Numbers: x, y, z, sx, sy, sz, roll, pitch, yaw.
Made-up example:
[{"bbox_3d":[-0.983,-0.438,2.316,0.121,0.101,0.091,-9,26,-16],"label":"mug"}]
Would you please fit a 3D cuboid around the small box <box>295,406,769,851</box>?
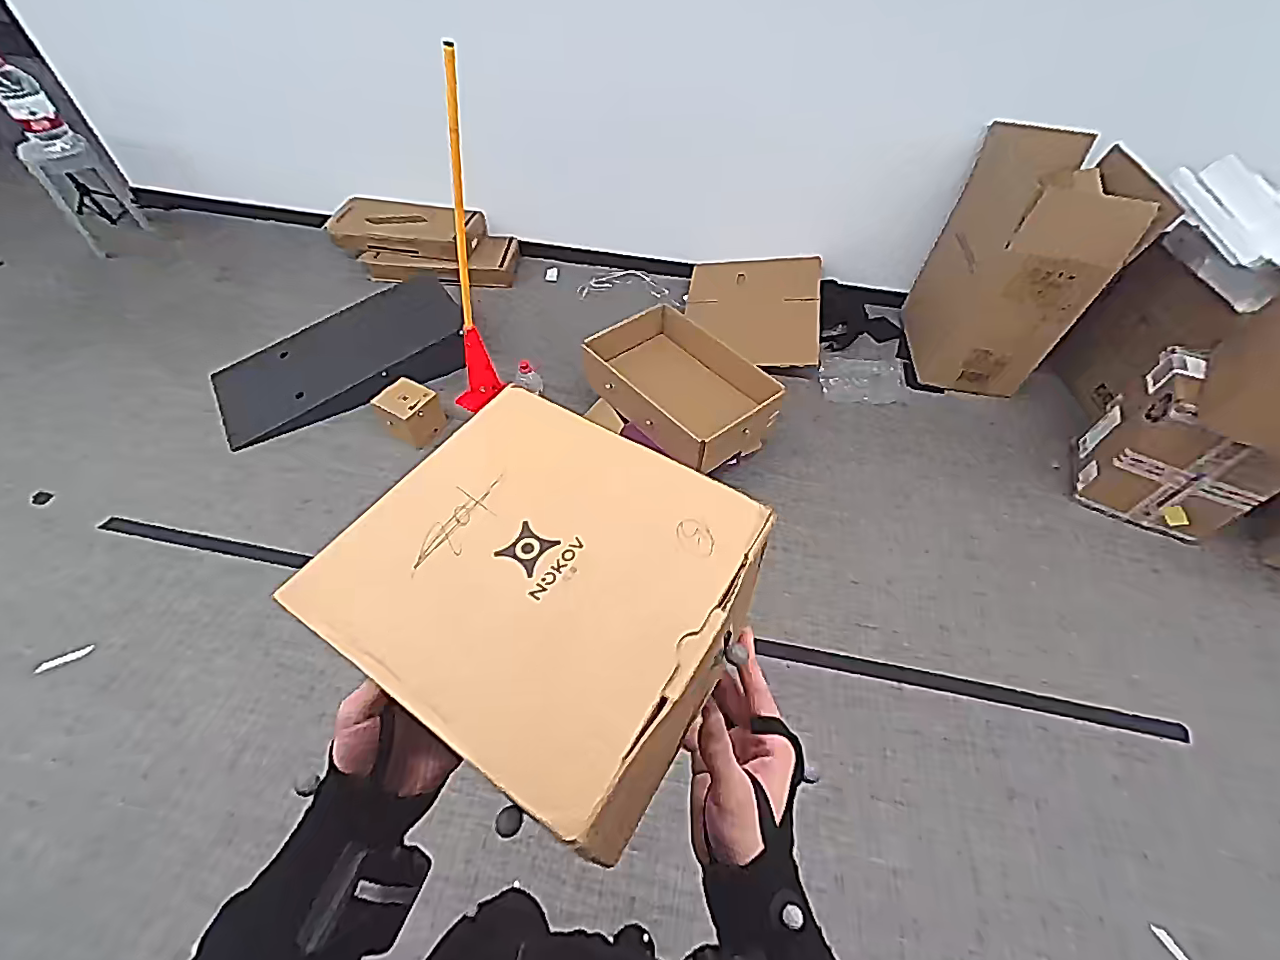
[{"bbox_3d":[-0.046,0.091,0.328,0.179,0.176,0.168,25,56,21],"label":"small box"}]
